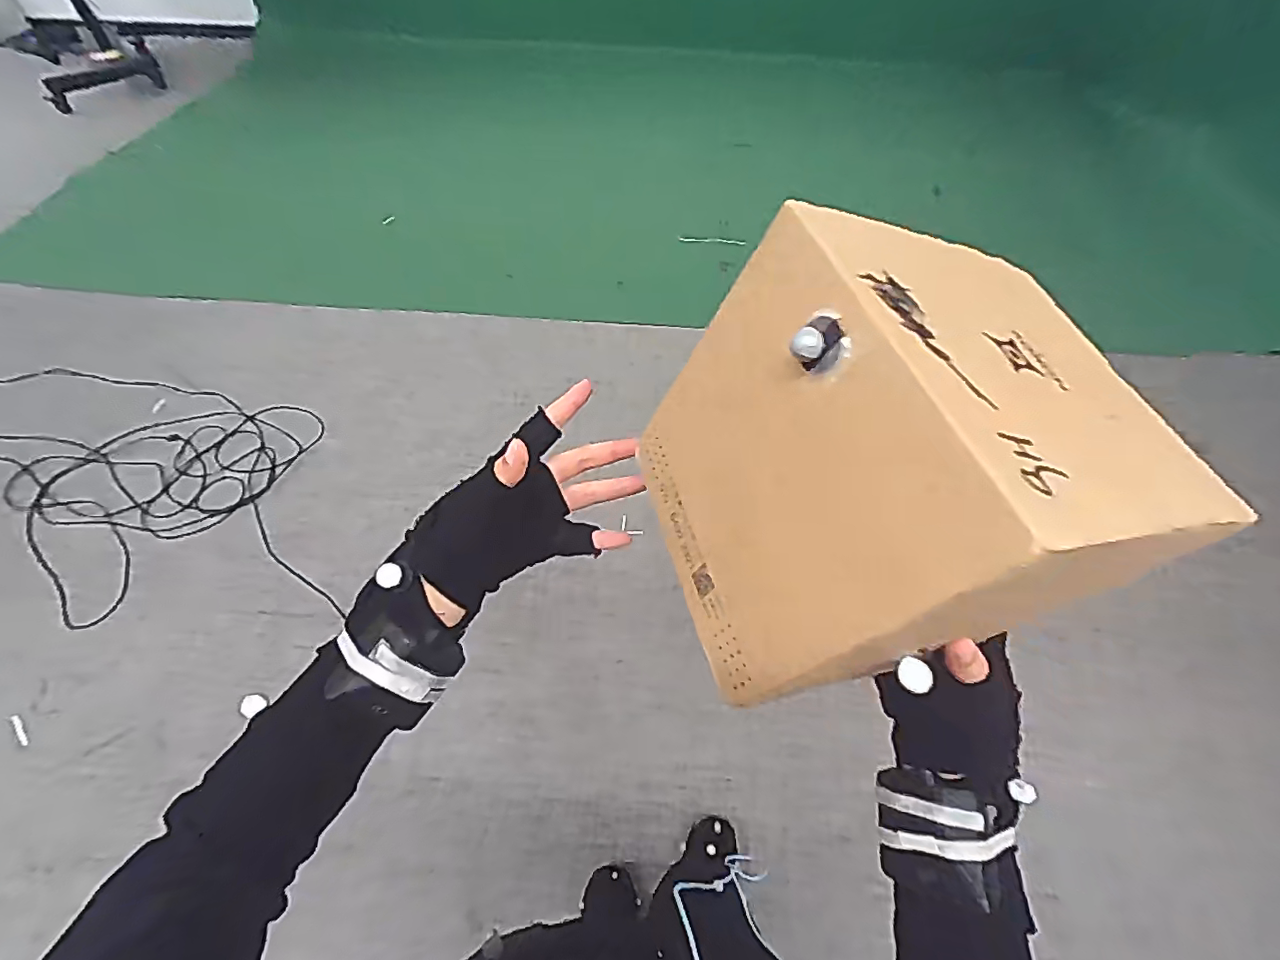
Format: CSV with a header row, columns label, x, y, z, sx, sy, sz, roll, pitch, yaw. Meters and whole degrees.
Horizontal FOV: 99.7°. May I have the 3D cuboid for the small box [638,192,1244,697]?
label,x,y,z,sx,sy,sz,roll,pitch,yaw
small box,0.124,-0.005,0.281,0.179,0.176,0.168,0,55,-30
